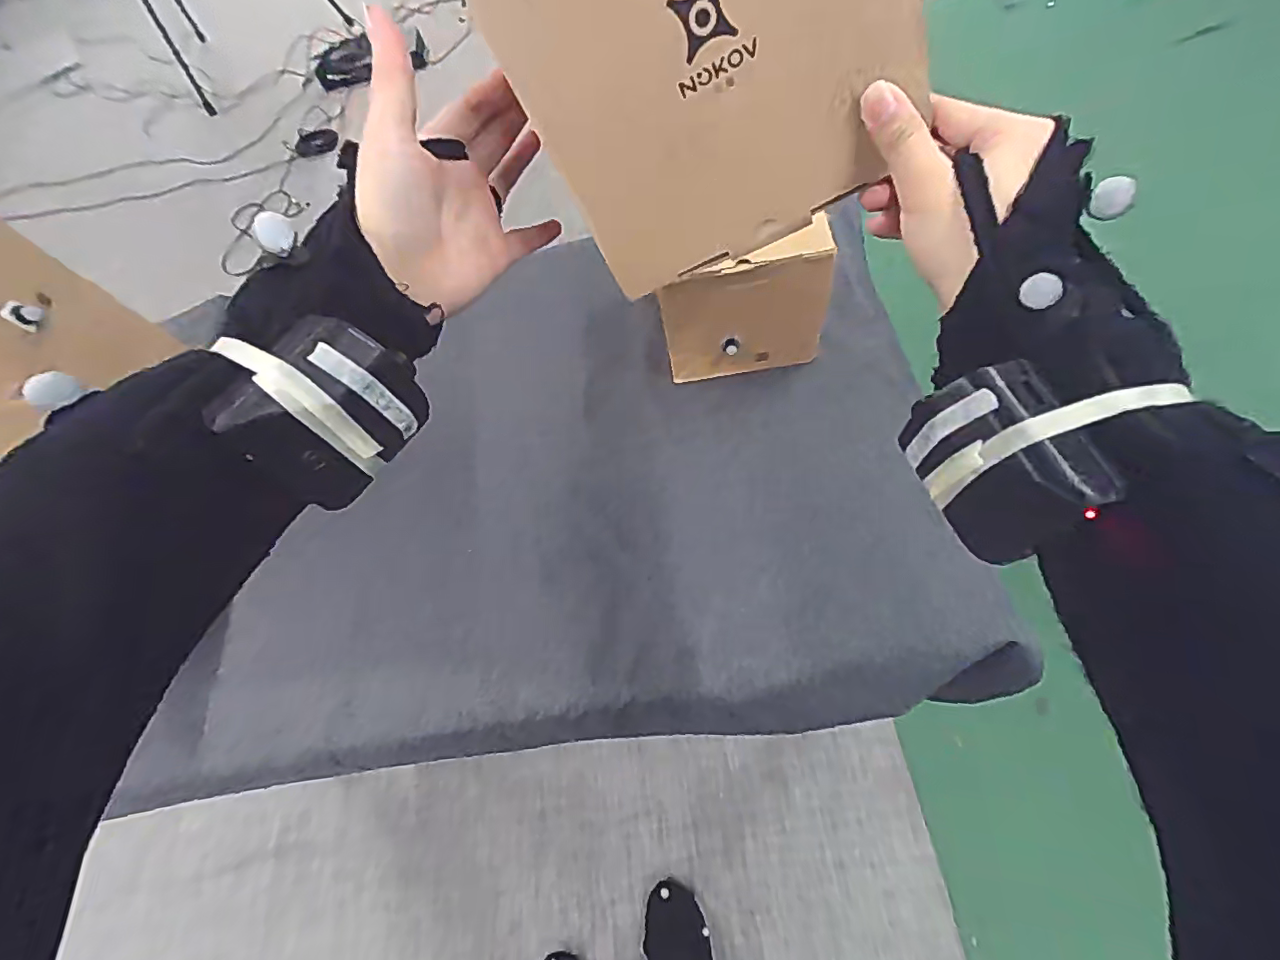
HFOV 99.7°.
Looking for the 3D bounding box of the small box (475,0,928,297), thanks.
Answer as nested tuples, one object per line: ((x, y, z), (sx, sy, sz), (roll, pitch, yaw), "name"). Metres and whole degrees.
((0.028, -0.239, 0.289), (0.168, 0.179, 0.176), (-21, 40, 16), "small box")

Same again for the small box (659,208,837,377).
((0.101, -0.240, 0.596), (0.168, 0.176, 0.179), (-8, 66, 6), "small box")

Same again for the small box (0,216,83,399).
((-0.715, -0.178, 0.517), (0.179, 0.176, 0.168), (-13, 67, 1), "small box")
